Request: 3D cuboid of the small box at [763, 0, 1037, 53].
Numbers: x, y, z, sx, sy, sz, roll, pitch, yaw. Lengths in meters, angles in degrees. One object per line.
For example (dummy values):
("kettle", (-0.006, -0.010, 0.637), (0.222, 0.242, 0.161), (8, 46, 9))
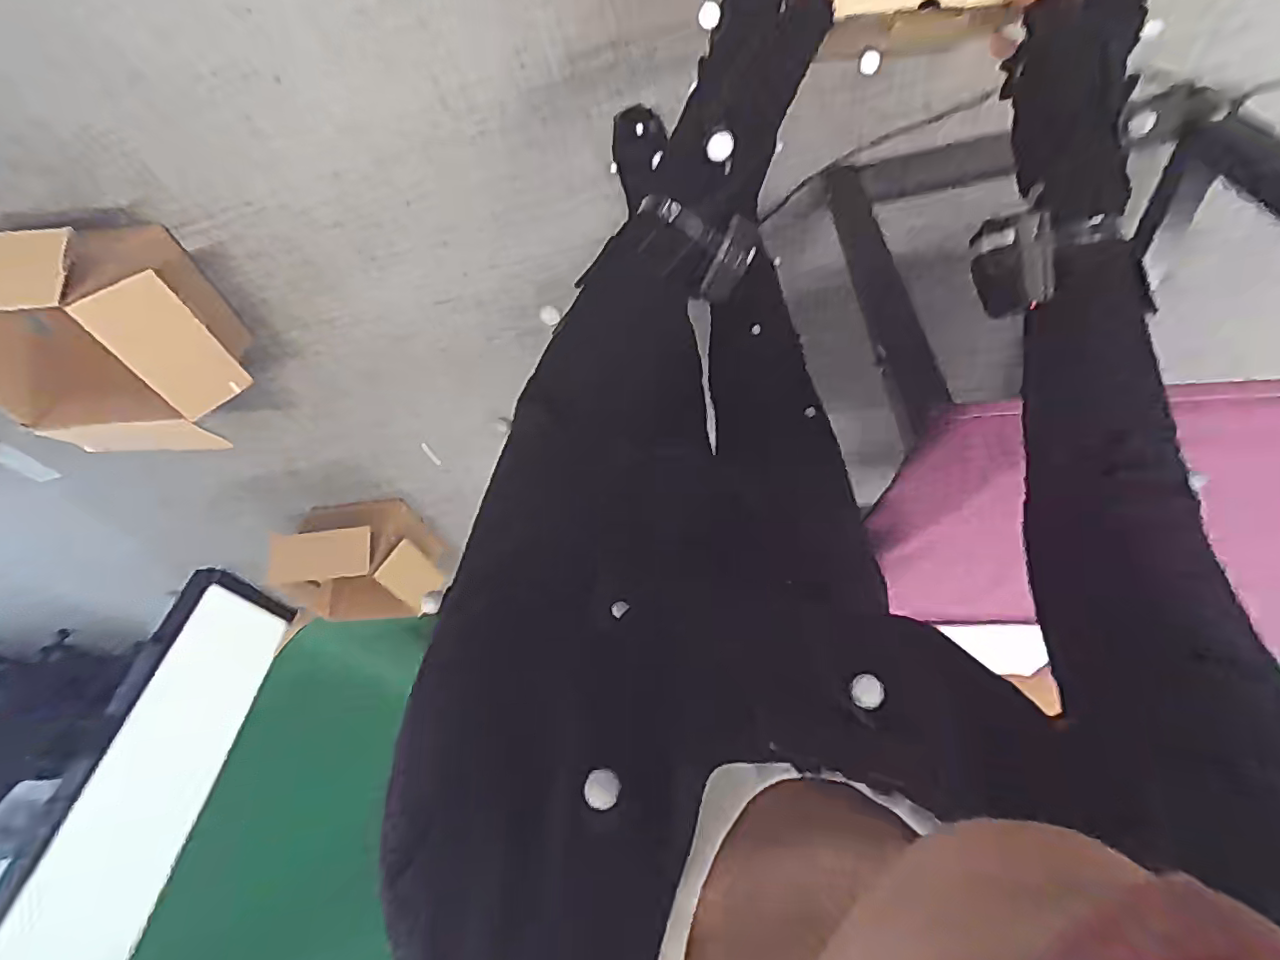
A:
("small box", (0.185, -0.423, 0.373), (0.168, 0.176, 0.179), (0, 119, 2))
